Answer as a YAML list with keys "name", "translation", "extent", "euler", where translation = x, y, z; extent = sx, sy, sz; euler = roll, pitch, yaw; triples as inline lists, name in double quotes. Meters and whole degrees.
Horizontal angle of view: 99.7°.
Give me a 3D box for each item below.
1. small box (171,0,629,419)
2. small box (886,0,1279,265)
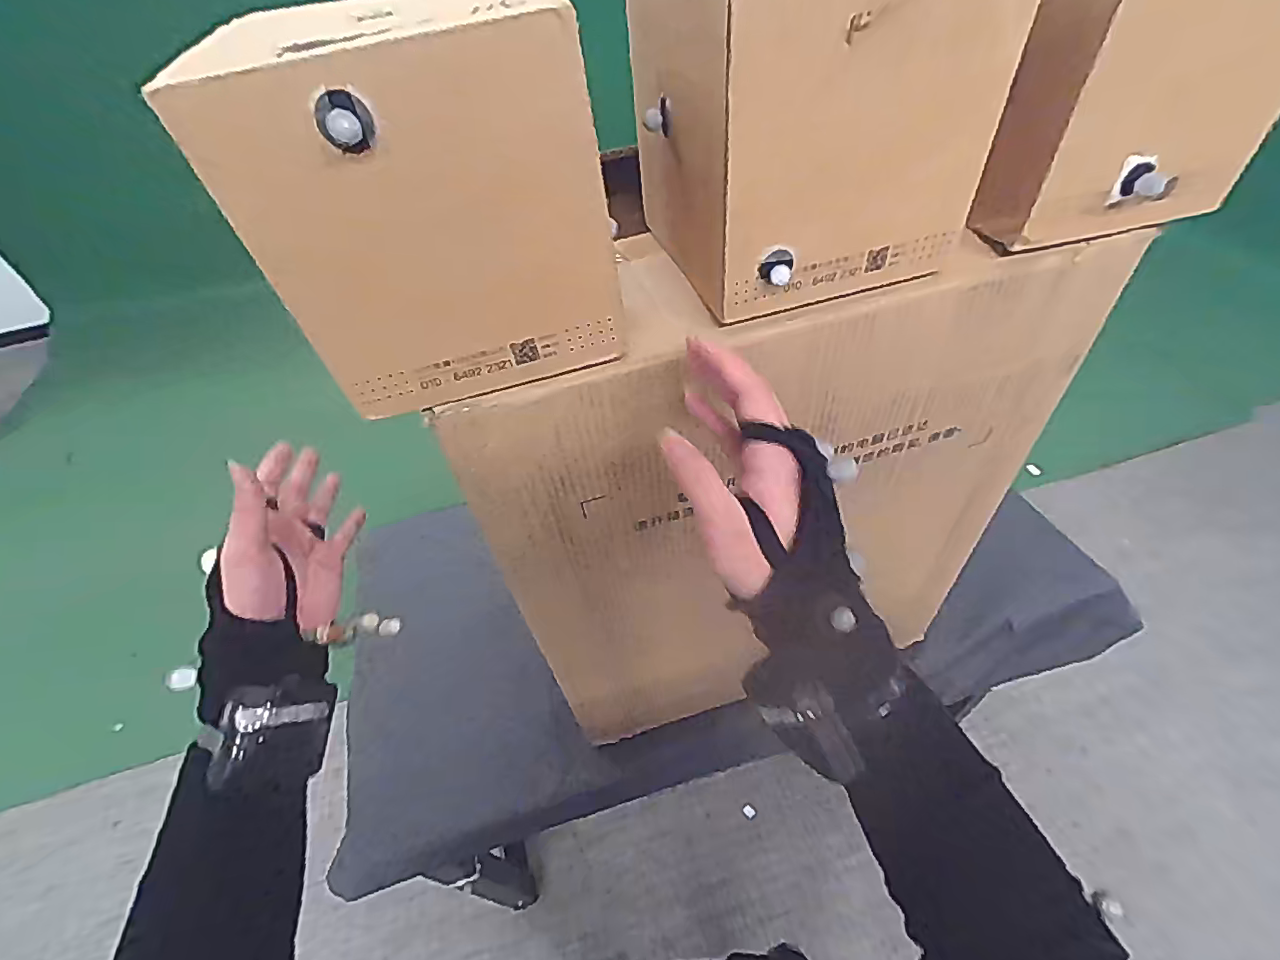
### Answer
- name: "small box"
  translation: [-0.112, -0.166, 0.329]
  extent: [0.168, 0.176, 0.179]
  euler: [-16, 46, -4]
- name: "small box"
  translation: [0.306, -0.278, 0.384]
  extent: [0.168, 0.176, 0.179]
  euler: [-15, 48, -6]
